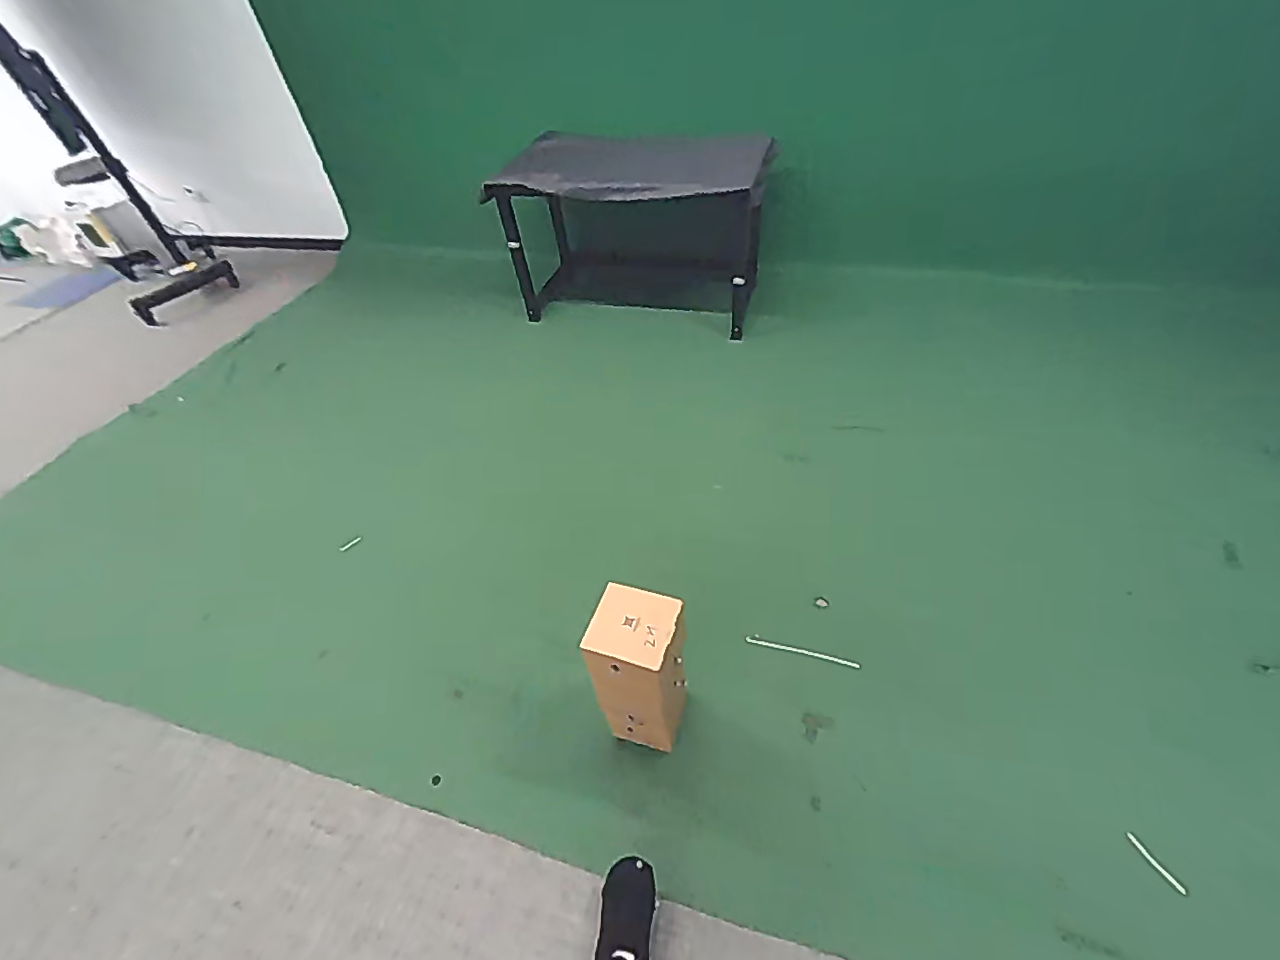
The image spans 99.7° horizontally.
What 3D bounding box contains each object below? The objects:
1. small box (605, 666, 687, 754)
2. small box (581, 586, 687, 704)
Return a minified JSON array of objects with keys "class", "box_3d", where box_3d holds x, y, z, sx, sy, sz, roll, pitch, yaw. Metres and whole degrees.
[{"class":"small box","box_3d":[0.025,0.584,1.407,0.168,0.176,0.179,9,47,16]},{"class":"small box","box_3d":[-0.005,0.359,1.169,0.179,0.176,0.168,11,49,18]}]
